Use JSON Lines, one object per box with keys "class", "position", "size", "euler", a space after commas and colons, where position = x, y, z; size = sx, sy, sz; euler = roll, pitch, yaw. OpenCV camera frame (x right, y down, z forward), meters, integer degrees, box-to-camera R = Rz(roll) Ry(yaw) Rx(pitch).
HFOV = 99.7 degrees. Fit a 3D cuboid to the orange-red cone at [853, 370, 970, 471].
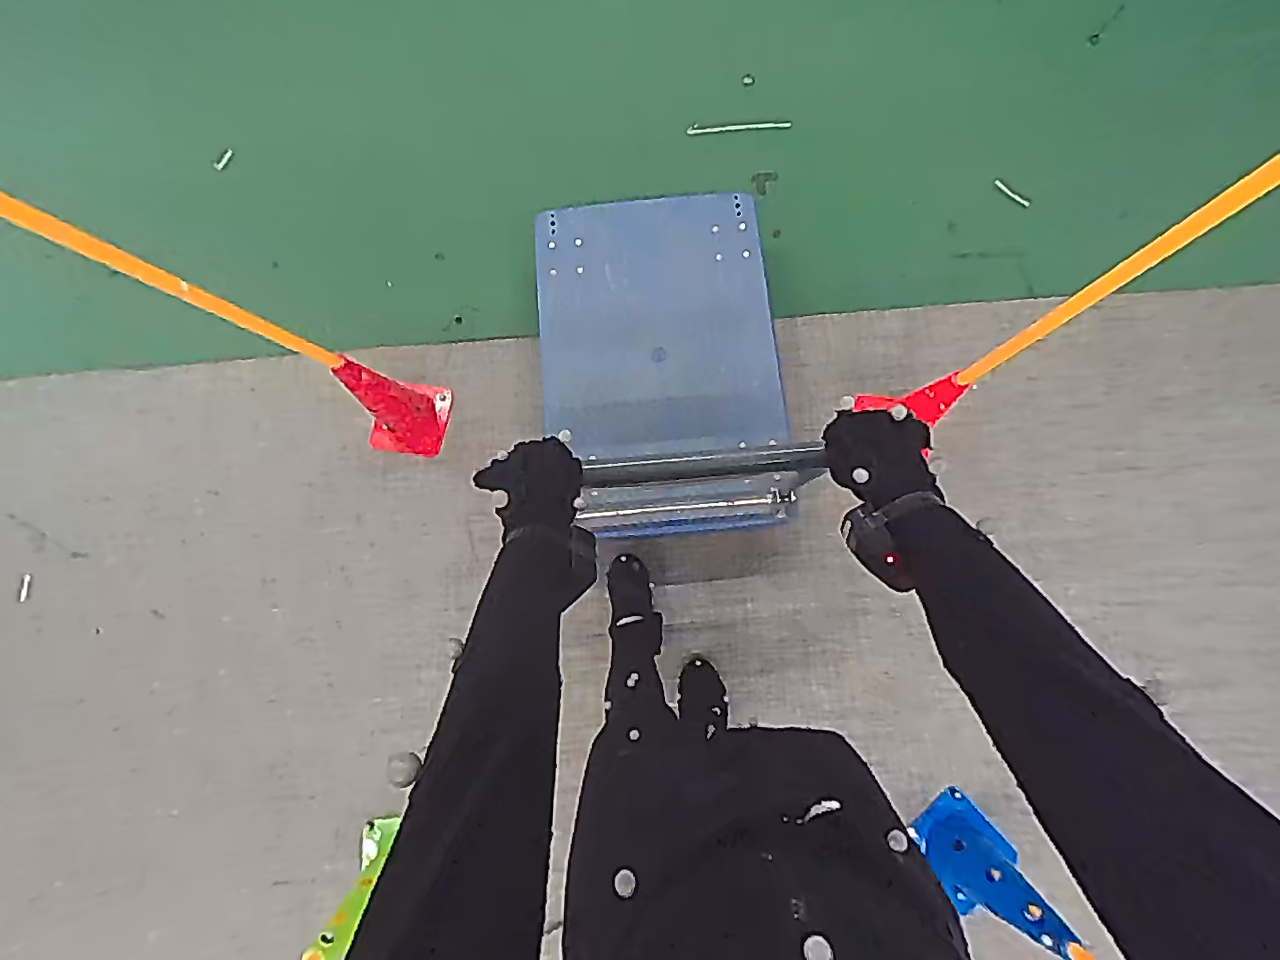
{"class": "orange-red cone", "position": [0.657, -0.164, 1.258], "size": [0.198, 0.360, 0.199], "euler": [7, 78, 4]}
